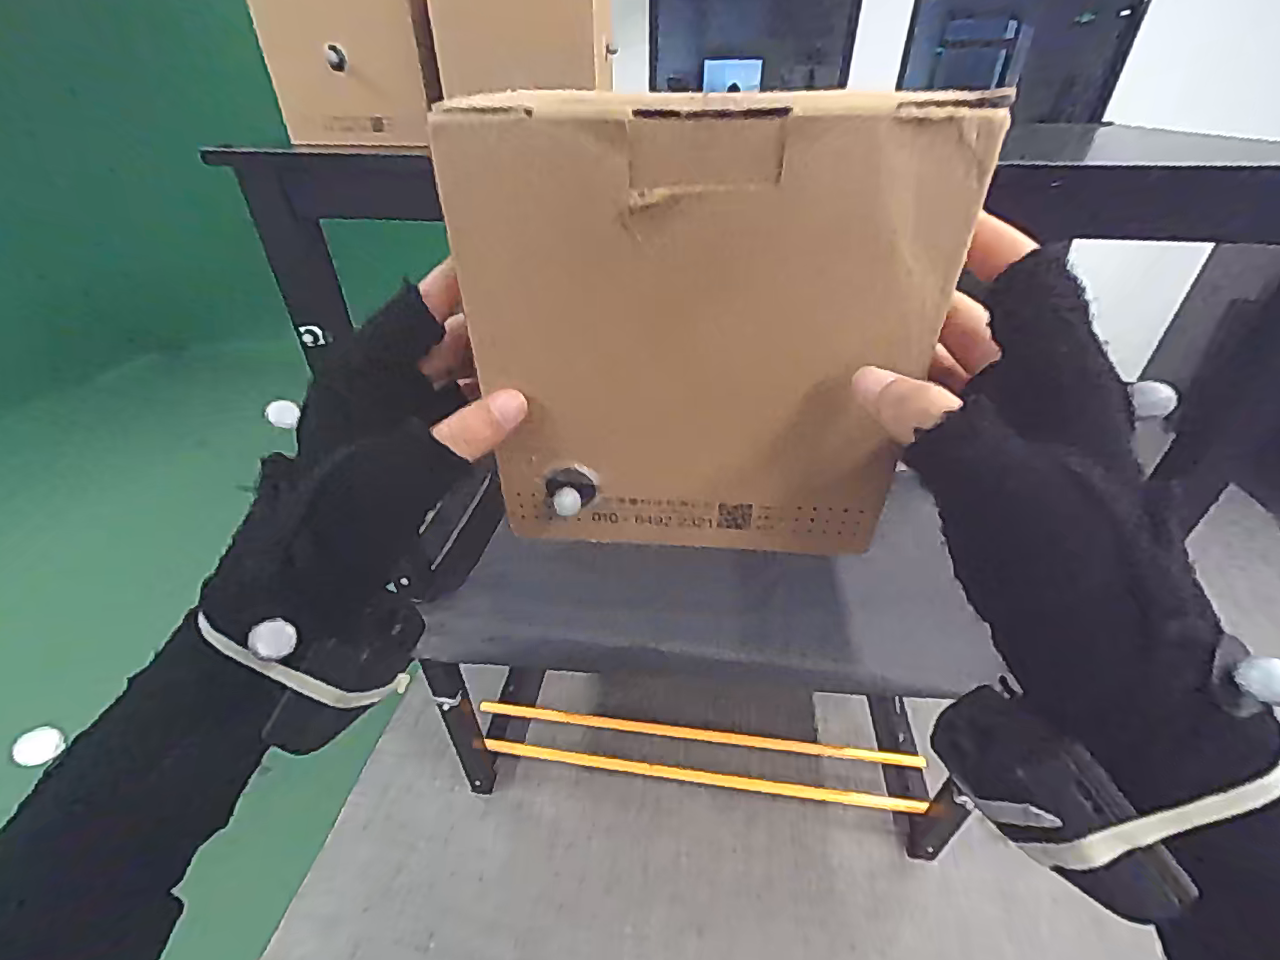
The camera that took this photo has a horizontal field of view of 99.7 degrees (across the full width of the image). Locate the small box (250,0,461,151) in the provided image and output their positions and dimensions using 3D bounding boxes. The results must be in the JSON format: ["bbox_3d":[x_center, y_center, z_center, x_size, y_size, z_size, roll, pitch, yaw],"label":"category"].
[{"bbox_3d":[-0.320,-0.502,0.655,0.168,0.176,0.179,2,35,0],"label":"small box"}]

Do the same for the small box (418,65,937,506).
[{"bbox_3d":[0.018,-0.102,0.279,0.168,0.176,0.179,3,35,5],"label":"small box"}]
